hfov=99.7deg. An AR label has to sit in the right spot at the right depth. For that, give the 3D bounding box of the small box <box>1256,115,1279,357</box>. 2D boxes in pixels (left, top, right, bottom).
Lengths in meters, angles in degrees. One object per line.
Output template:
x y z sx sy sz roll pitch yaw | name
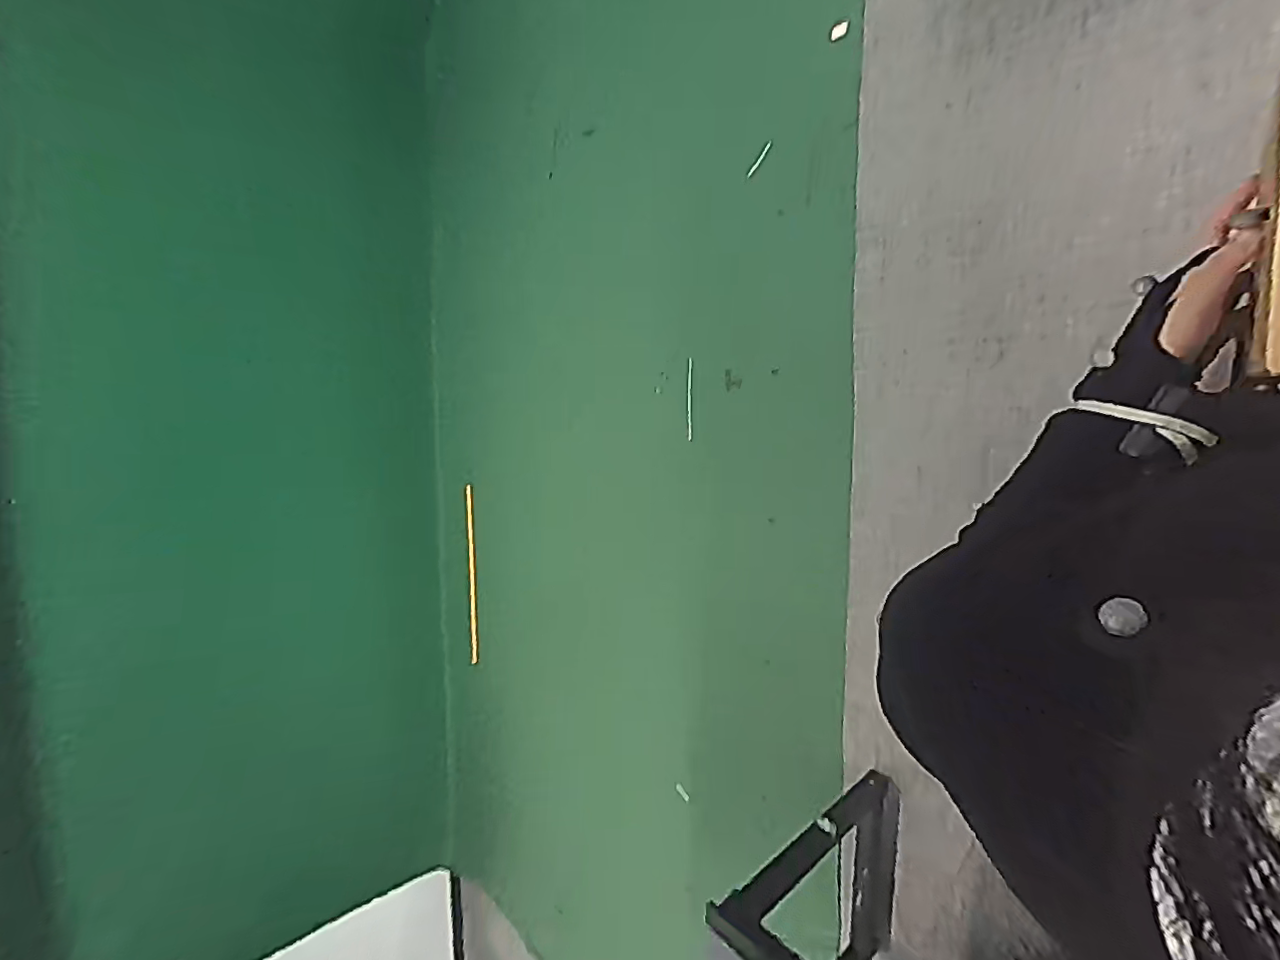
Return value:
0.464 -0.163 0.290 0.168 0.176 0.179 4 99 46 | small box
